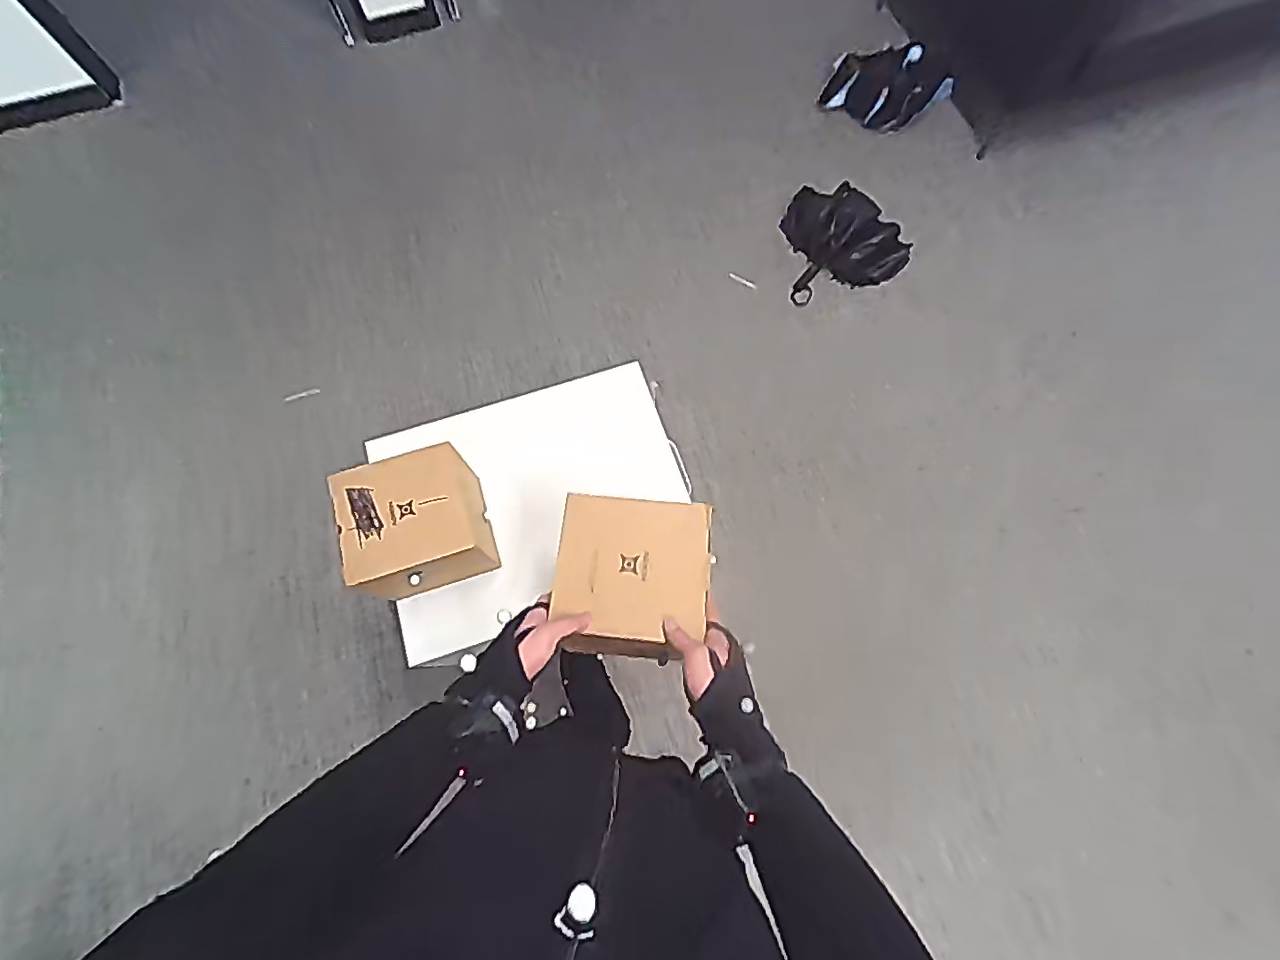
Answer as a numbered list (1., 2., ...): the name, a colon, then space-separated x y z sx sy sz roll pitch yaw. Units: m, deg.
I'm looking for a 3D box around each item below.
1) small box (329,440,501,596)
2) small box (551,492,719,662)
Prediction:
1. small box: -0.324 0.065 0.803 0.179 0.176 0.168 -16 74 -8
2. small box: -0.001 0.128 0.675 0.179 0.176 0.168 4 65 3
